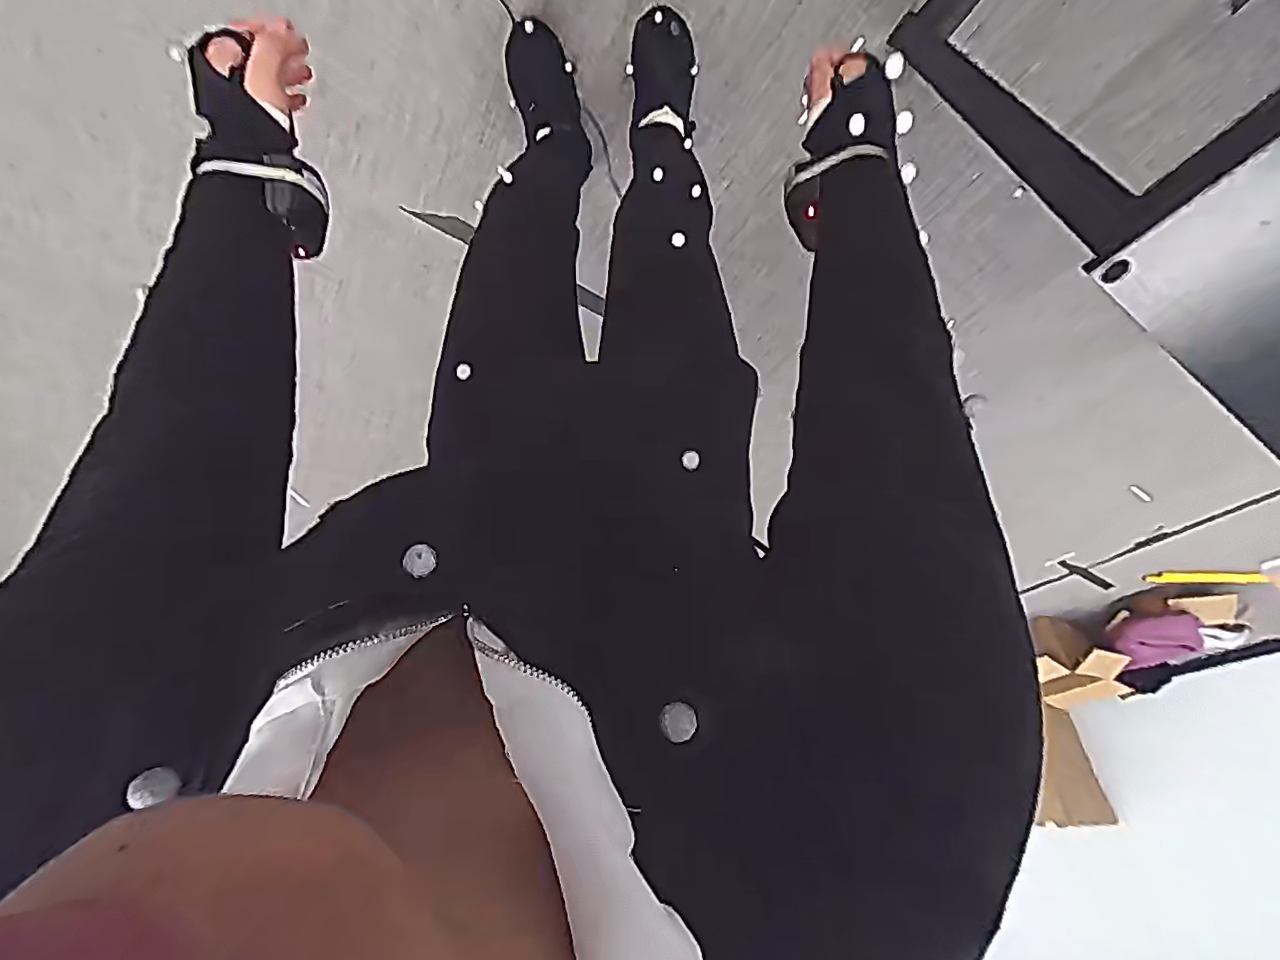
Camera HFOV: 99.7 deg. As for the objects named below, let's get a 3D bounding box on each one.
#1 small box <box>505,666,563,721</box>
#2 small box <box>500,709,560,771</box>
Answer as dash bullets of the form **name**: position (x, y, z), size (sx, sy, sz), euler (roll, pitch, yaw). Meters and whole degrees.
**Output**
- **small box**: position (-0.413, 0.845, 2.122), size (0.179, 0.176, 0.168), euler (16, 136, -19)
- **small box**: position (-0.404, 0.967, 2.011), size (0.179, 0.176, 0.168), euler (16, 135, -20)
